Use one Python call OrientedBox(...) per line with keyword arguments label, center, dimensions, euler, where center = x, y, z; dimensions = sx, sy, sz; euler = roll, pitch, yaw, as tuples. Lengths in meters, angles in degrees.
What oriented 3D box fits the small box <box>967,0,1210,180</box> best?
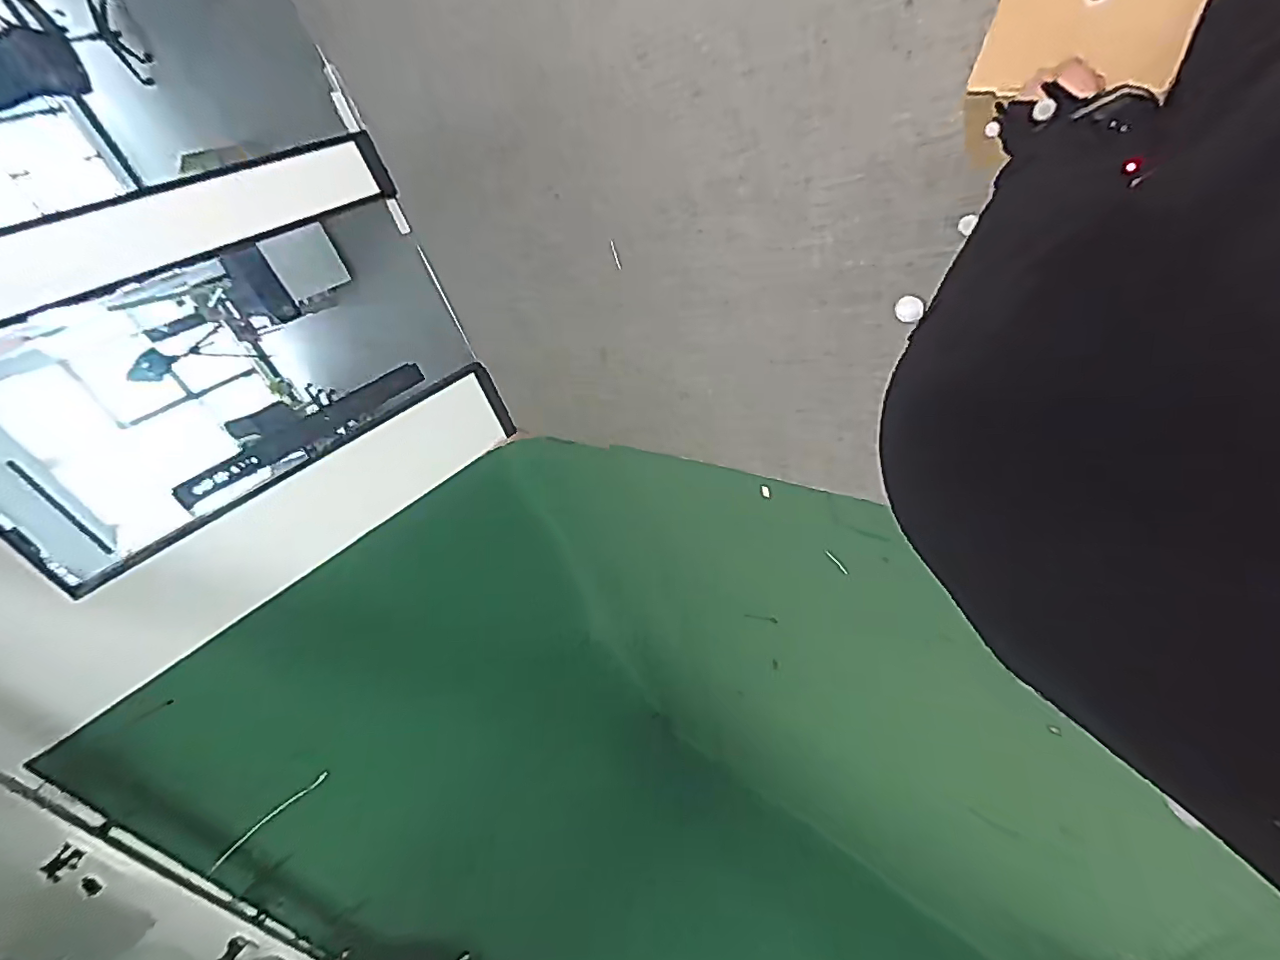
OrientedBox(label="small box", center=(0.468, -0.447, 0.570), dimensions=(0.168, 0.179, 0.176), euler=(25, 105, 30))
